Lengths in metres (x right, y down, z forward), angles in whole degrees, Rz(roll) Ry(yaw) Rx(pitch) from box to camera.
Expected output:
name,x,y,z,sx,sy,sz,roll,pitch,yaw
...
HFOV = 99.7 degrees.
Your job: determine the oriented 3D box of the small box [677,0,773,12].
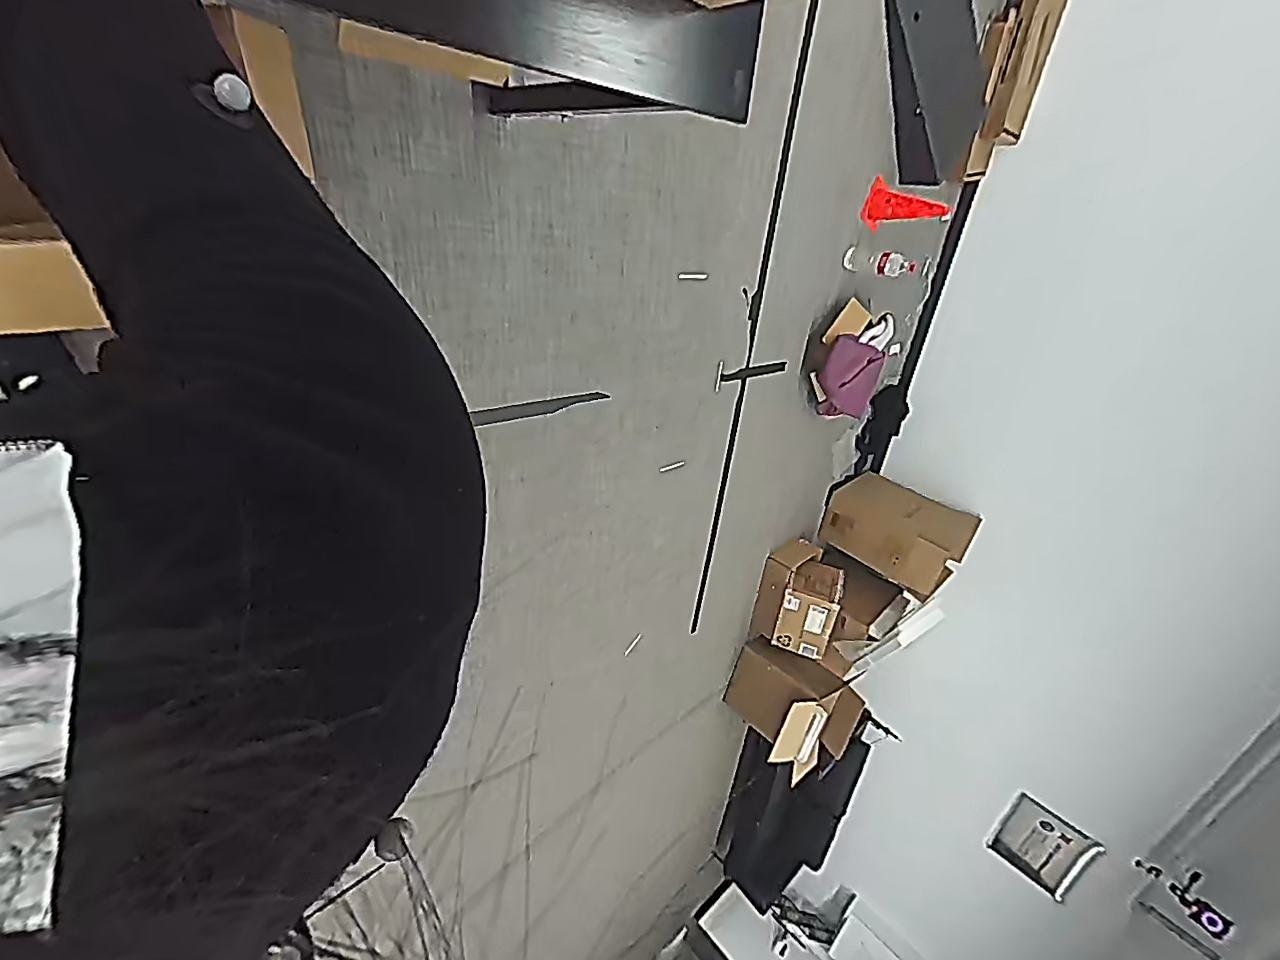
name,x,y,z,sx,sy,sz,roll,pitch,yaw
small box,0.099,-0.682,0.620,0.168,0.176,0.179,-17,125,-40
